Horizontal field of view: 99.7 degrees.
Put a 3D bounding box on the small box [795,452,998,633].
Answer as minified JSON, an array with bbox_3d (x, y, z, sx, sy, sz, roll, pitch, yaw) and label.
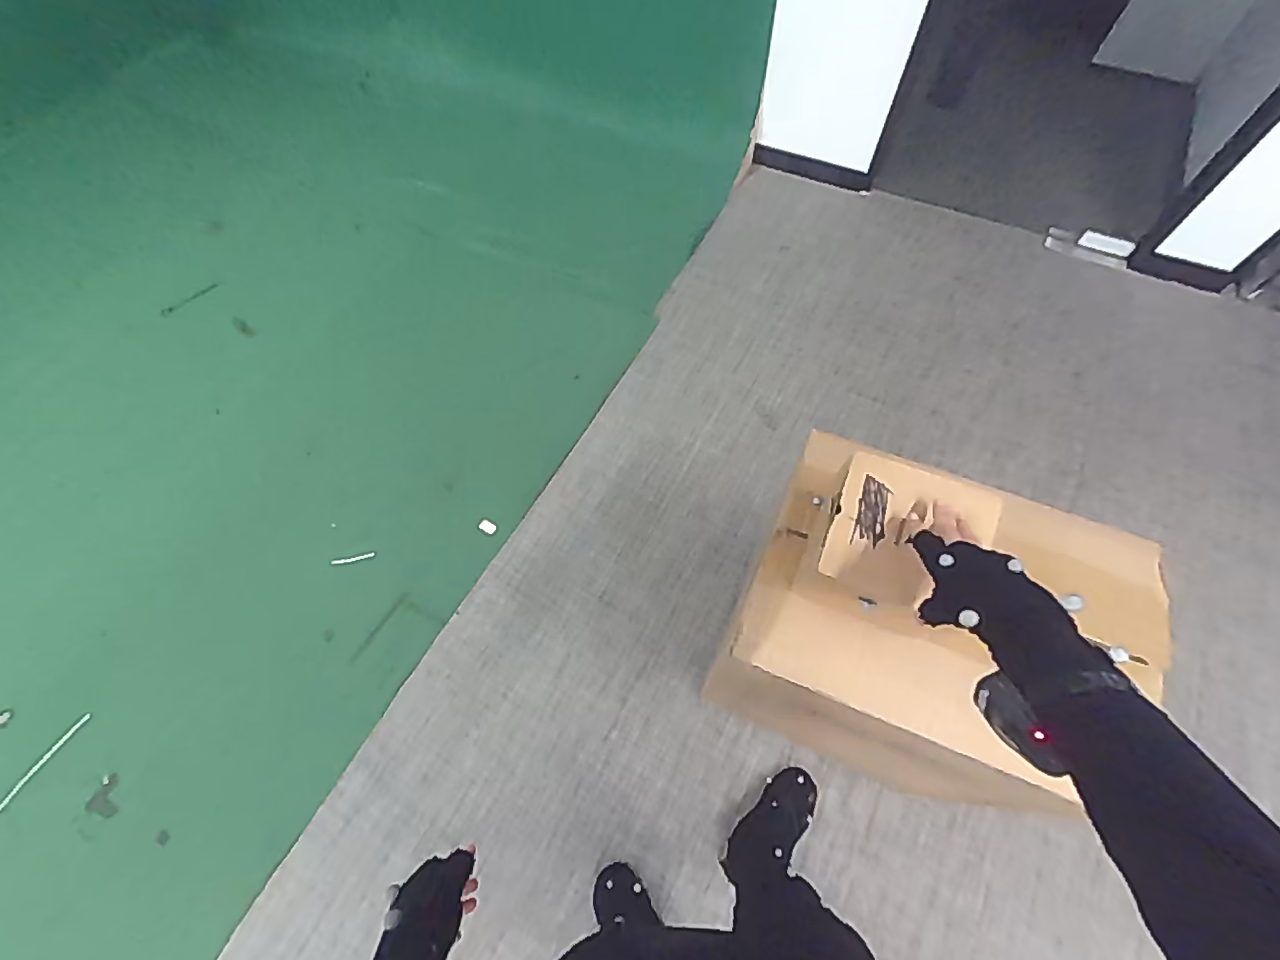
[{"bbox_3d":[0.318,0.091,0.706,0.179,0.176,0.168,21,75,12],"label":"small box"}]
